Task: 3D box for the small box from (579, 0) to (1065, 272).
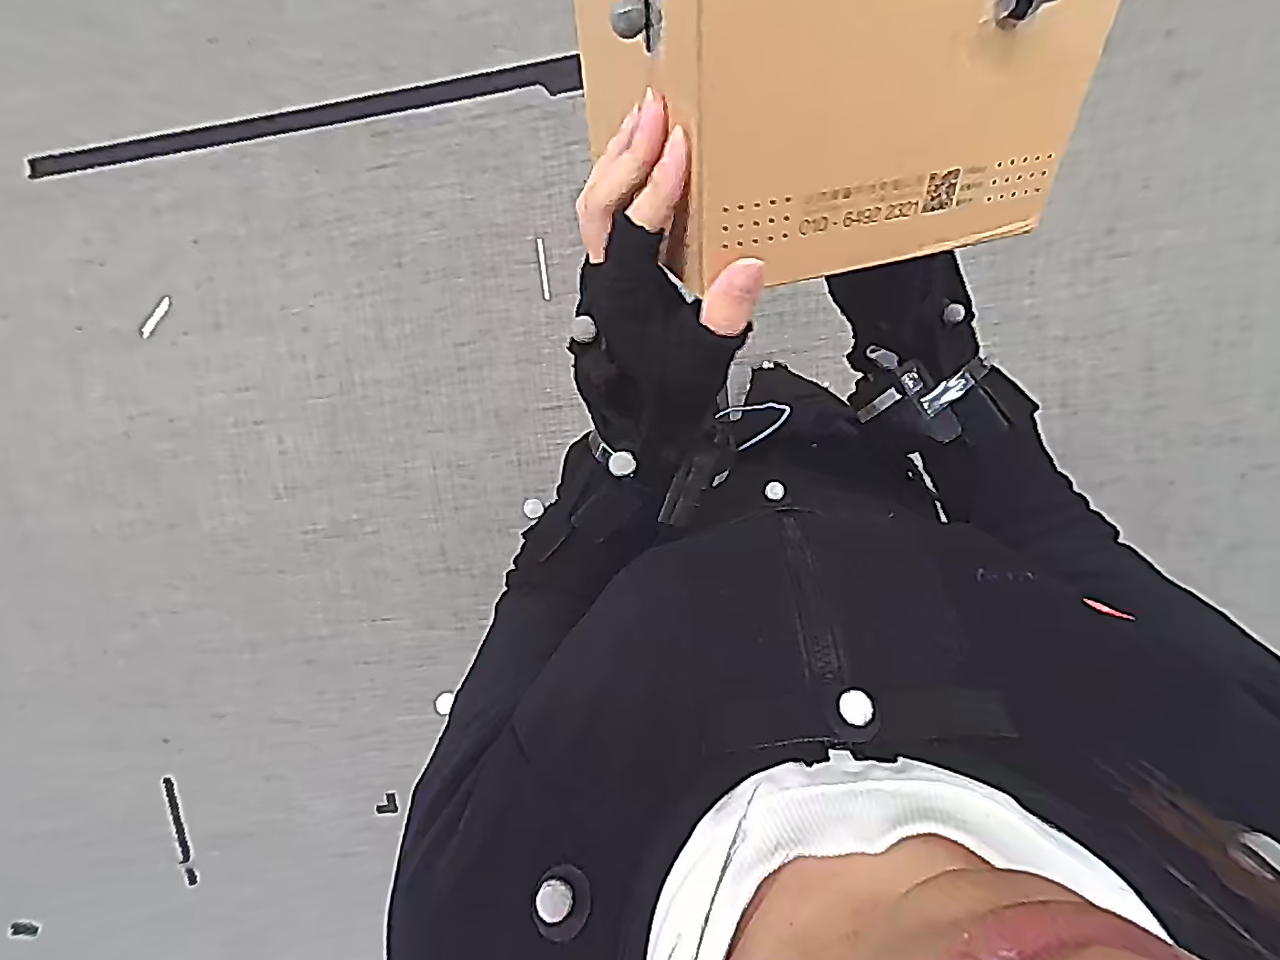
[{"bbox_3d":[0.072,-0.212,0.262,0.168,0.179,0.176,-15,130,-12],"label":"small box"}]
